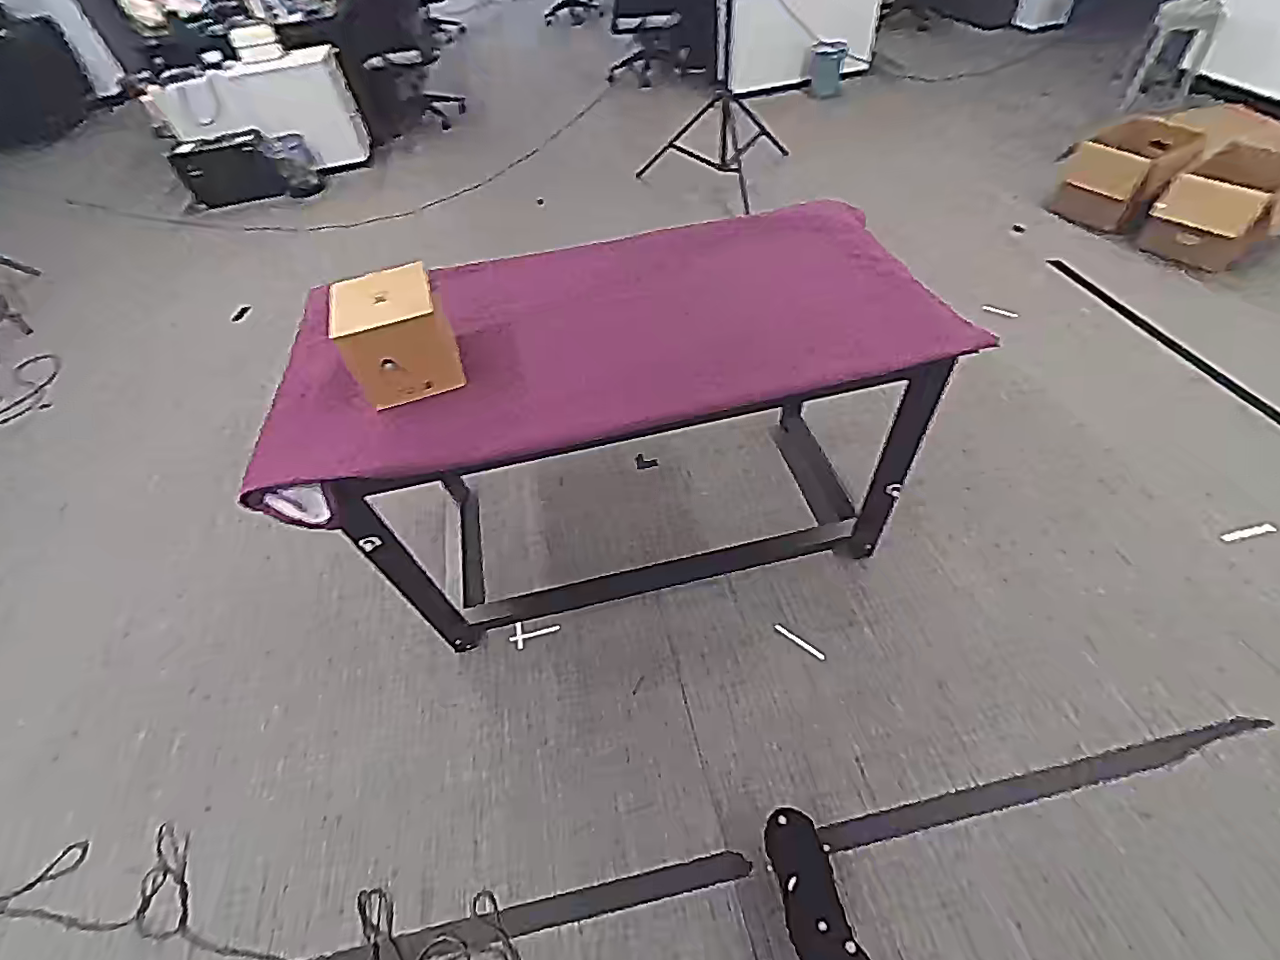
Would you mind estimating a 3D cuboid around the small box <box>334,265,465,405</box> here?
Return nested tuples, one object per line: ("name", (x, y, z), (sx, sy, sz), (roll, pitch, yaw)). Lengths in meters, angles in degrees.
("small box", (-0.435, -0.258, 0.993), (0.168, 0.176, 0.179), (-19, 52, -9))
